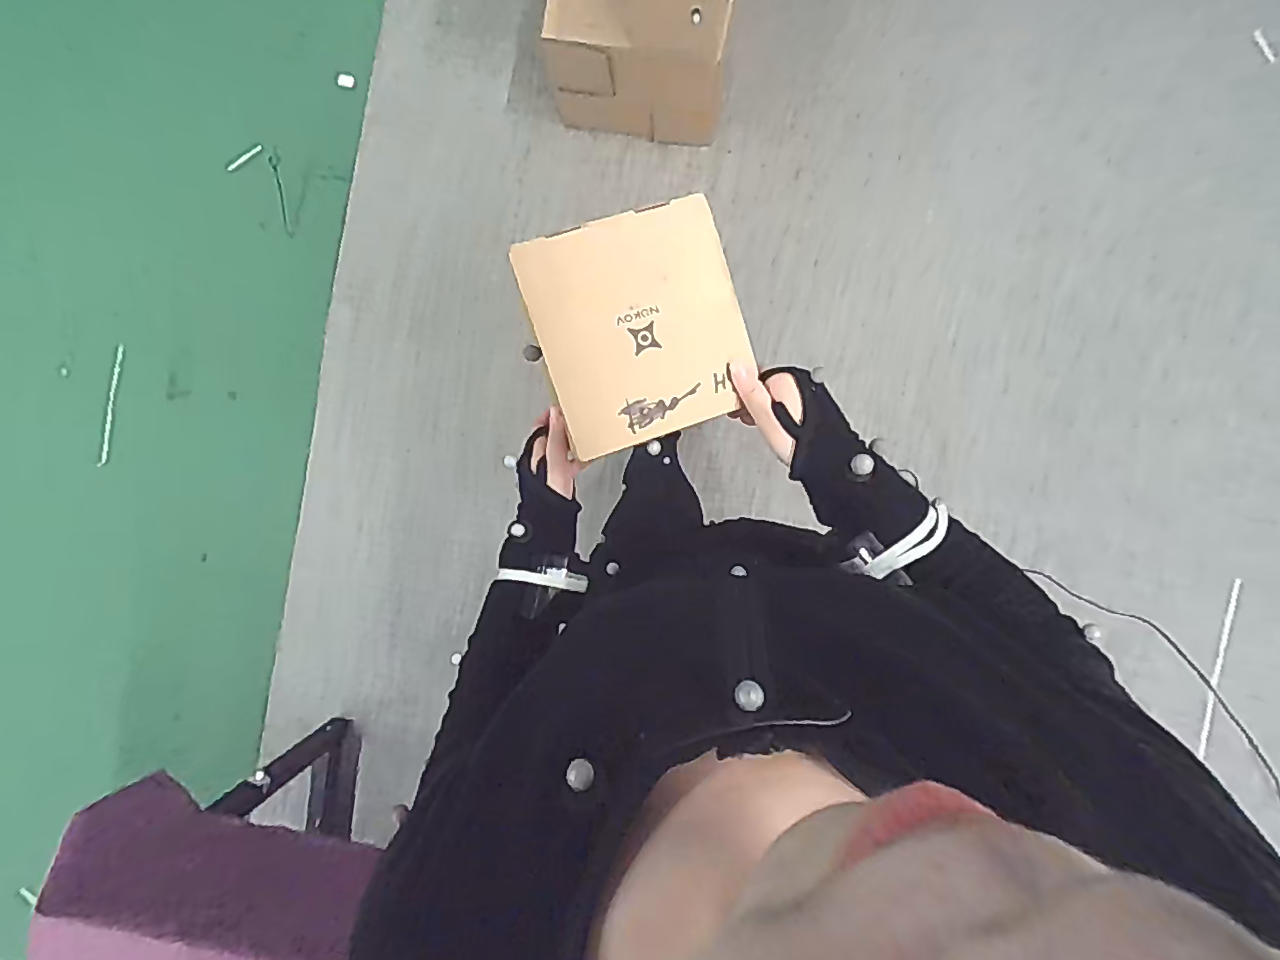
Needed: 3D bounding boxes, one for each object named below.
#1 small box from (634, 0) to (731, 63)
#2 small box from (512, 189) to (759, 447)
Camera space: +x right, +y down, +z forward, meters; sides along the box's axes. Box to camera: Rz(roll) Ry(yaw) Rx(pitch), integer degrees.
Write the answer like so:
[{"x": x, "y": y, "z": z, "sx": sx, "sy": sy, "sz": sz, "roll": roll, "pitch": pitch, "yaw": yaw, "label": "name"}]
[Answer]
[{"x": 0.092, "y": -0.977, "z": 1.074, "sx": 0.179, "sy": 0.176, "sz": 0.168, "roll": 12, "pitch": 91, "yaw": 4, "label": "small box"}, {"x": -0.013, "y": -0.134, "z": 0.512, "sx": 0.168, "sy": 0.176, "sz": 0.179, "roll": -18, "pitch": 97, "yaw": -7, "label": "small box"}]
